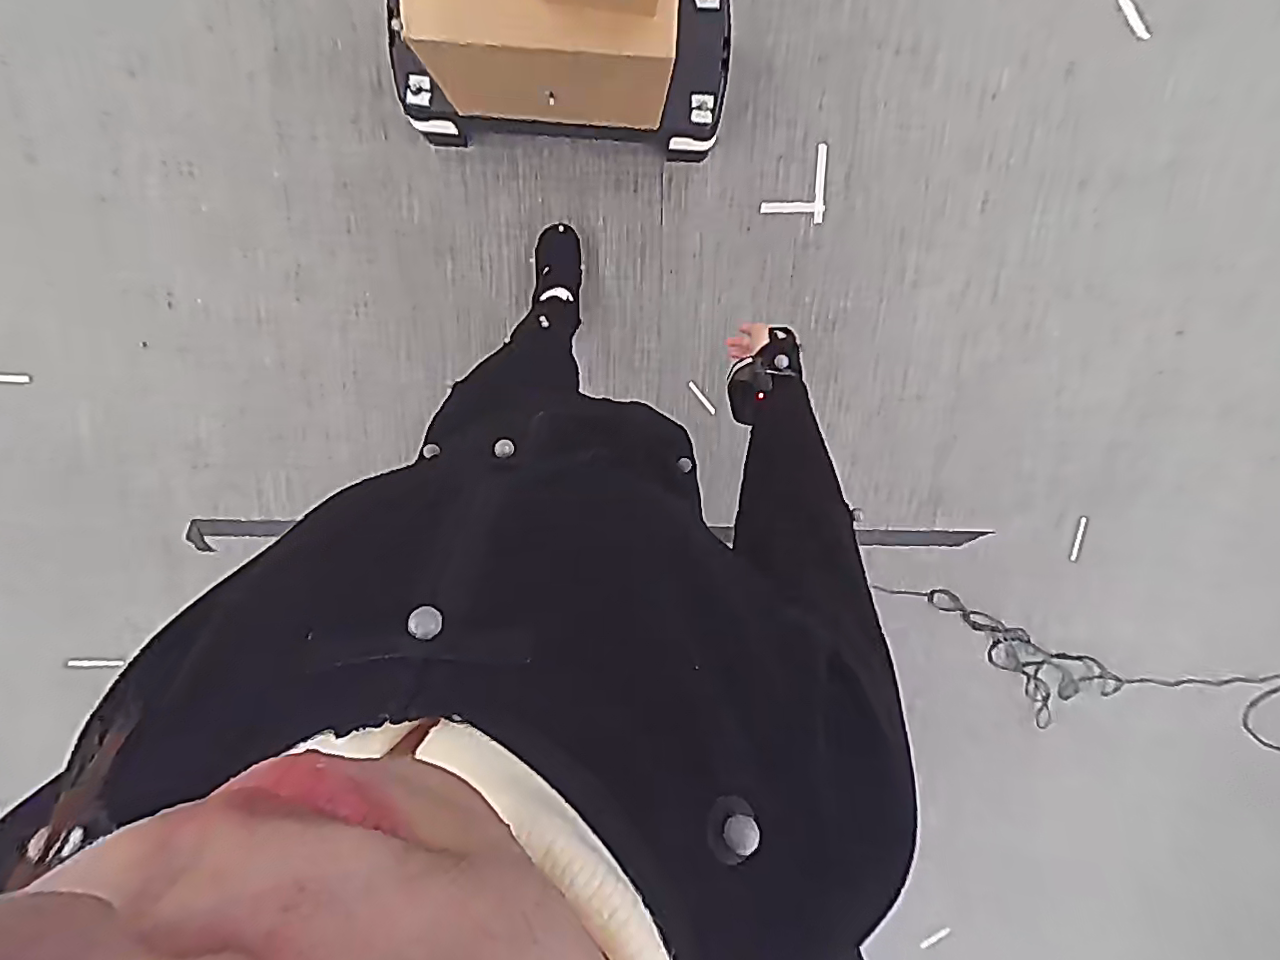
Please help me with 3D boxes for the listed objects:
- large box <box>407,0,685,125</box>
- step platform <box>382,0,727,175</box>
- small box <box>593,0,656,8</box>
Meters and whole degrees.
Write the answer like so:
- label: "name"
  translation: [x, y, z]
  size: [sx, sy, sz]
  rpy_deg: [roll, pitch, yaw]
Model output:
- label: "large box"
  translation: [-0.136, -0.817, 0.896]
  size: [0.408, 0.320, 0.320]
  rpy_deg: [2, 105, -2]
- label: "step platform"
  translation: [-0.165, -0.866, 1.129]
  size: [0.684, 0.204, 0.286]
  rpy_deg: [7, 105, -4]
- label: "small box"
  translation: [-0.039, -0.733, 0.670]
  size: [0.179, 0.176, 0.168]
  rpy_deg: [5, 106, -4]
